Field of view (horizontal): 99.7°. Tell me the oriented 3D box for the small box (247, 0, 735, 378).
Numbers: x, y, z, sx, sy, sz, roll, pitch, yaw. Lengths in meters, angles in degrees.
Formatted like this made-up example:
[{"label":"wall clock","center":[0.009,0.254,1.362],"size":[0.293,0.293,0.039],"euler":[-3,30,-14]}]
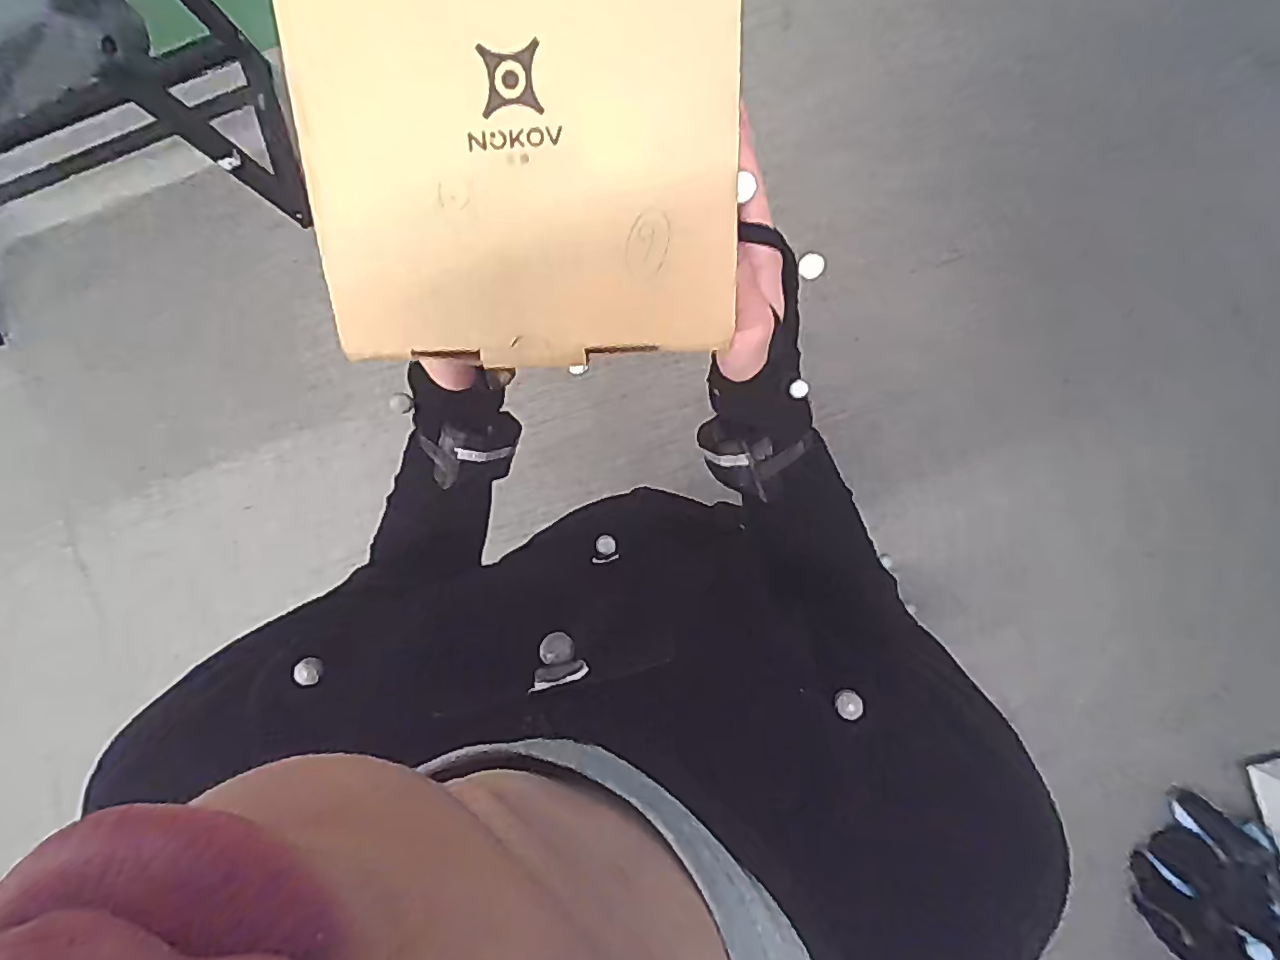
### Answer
[{"label":"small box","center":[-0.044,-0.150,0.265],"size":[0.168,0.176,0.179],"euler":[-1,108,4]}]
